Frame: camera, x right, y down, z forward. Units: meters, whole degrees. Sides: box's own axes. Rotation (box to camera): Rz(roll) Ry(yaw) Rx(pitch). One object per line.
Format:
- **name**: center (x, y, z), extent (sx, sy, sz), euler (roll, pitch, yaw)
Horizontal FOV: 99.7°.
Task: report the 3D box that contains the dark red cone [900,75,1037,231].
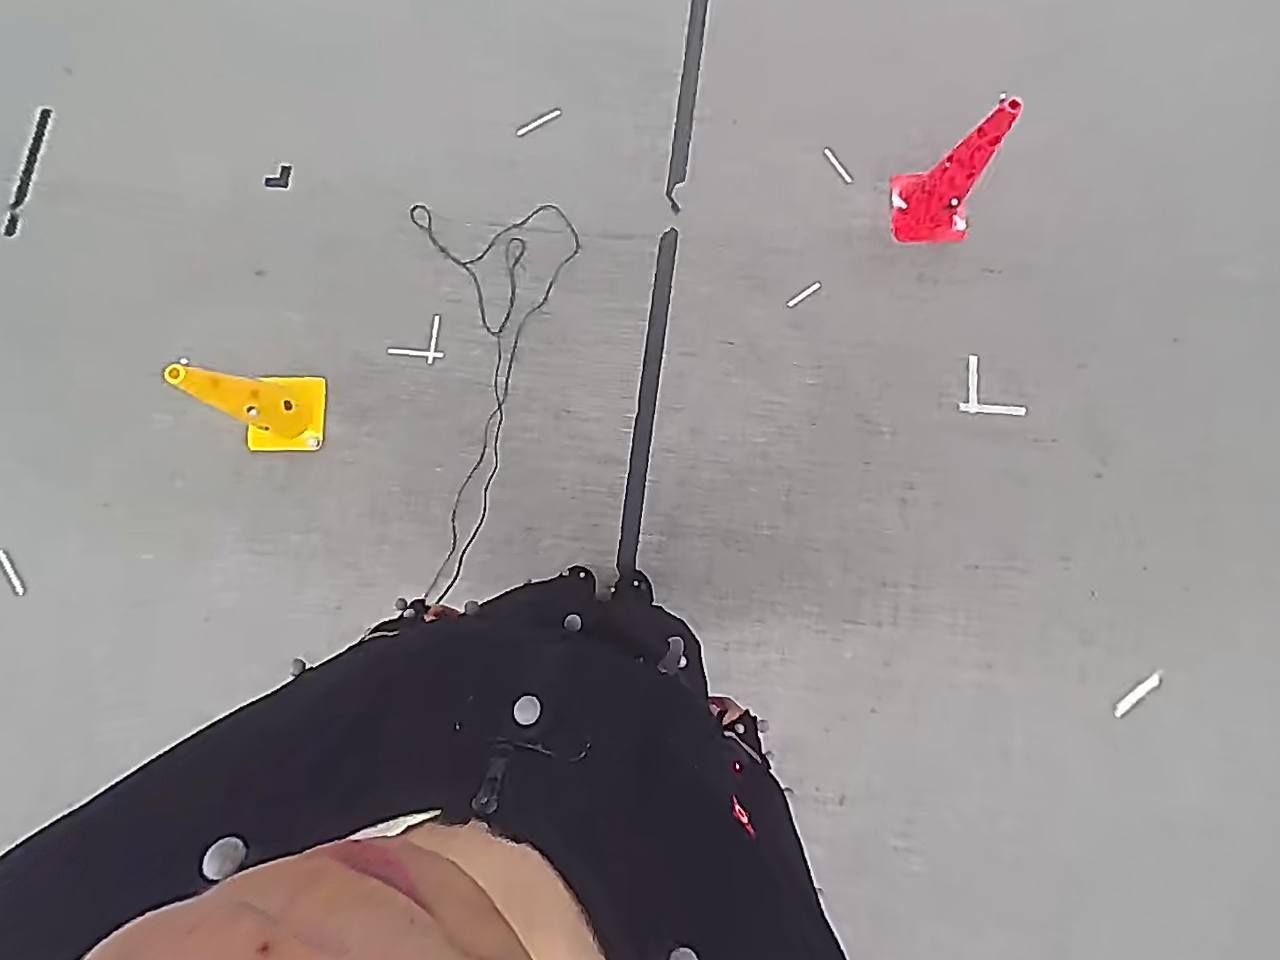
- **dark red cone**: center (0.796, -0.785, 1.288), extent (0.201, 0.394, 0.202), euler (-1, 83, 2)
